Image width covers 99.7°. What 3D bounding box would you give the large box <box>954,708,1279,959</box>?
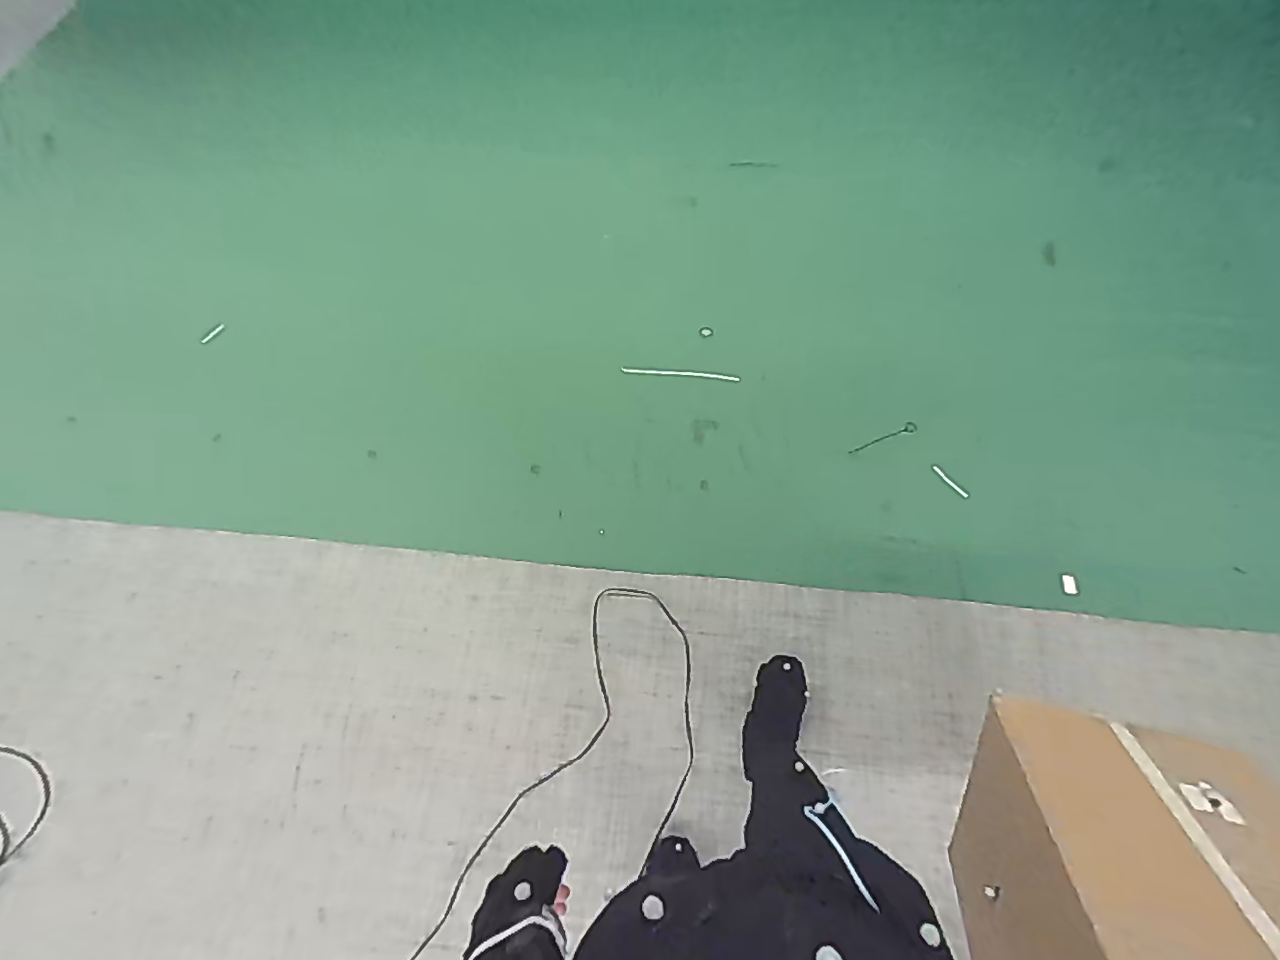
[{"bbox_3d":[0.614,0.560,0.647,0.320,0.408,0.320,9,105,17],"label":"large box"}]
